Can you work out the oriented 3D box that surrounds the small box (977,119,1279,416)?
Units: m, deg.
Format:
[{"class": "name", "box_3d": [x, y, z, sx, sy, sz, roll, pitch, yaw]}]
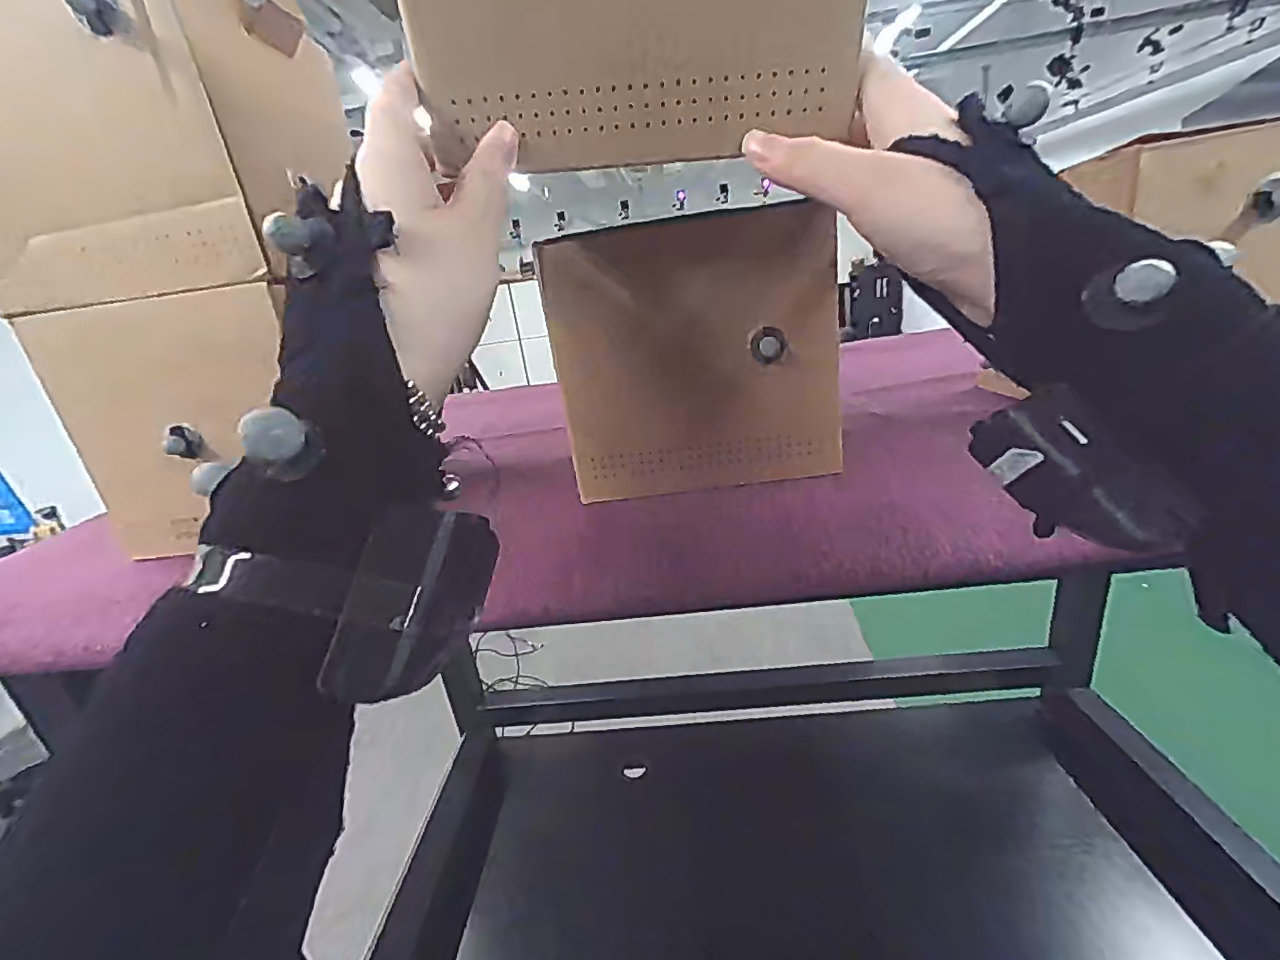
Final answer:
[{"class": "small box", "box_3d": [0.385, -0.148, 0.408, 0.179, 0.176, 0.168, -6, 17, 6]}]

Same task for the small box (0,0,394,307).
[{"class": "small box", "box_3d": [-0.305, -0.215, 0.376, 0.179, 0.176, 0.168, -6, 20, 1]}]

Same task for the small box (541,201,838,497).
[{"class": "small box", "box_3d": [0.040, -0.099, 0.415, 0.179, 0.176, 0.168, -8, 19, 4]}]

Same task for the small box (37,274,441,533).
[{"class": "small box", "box_3d": [-0.279, -0.064, 0.432, 0.168, 0.176, 0.179, -6, 20, 3]}]
